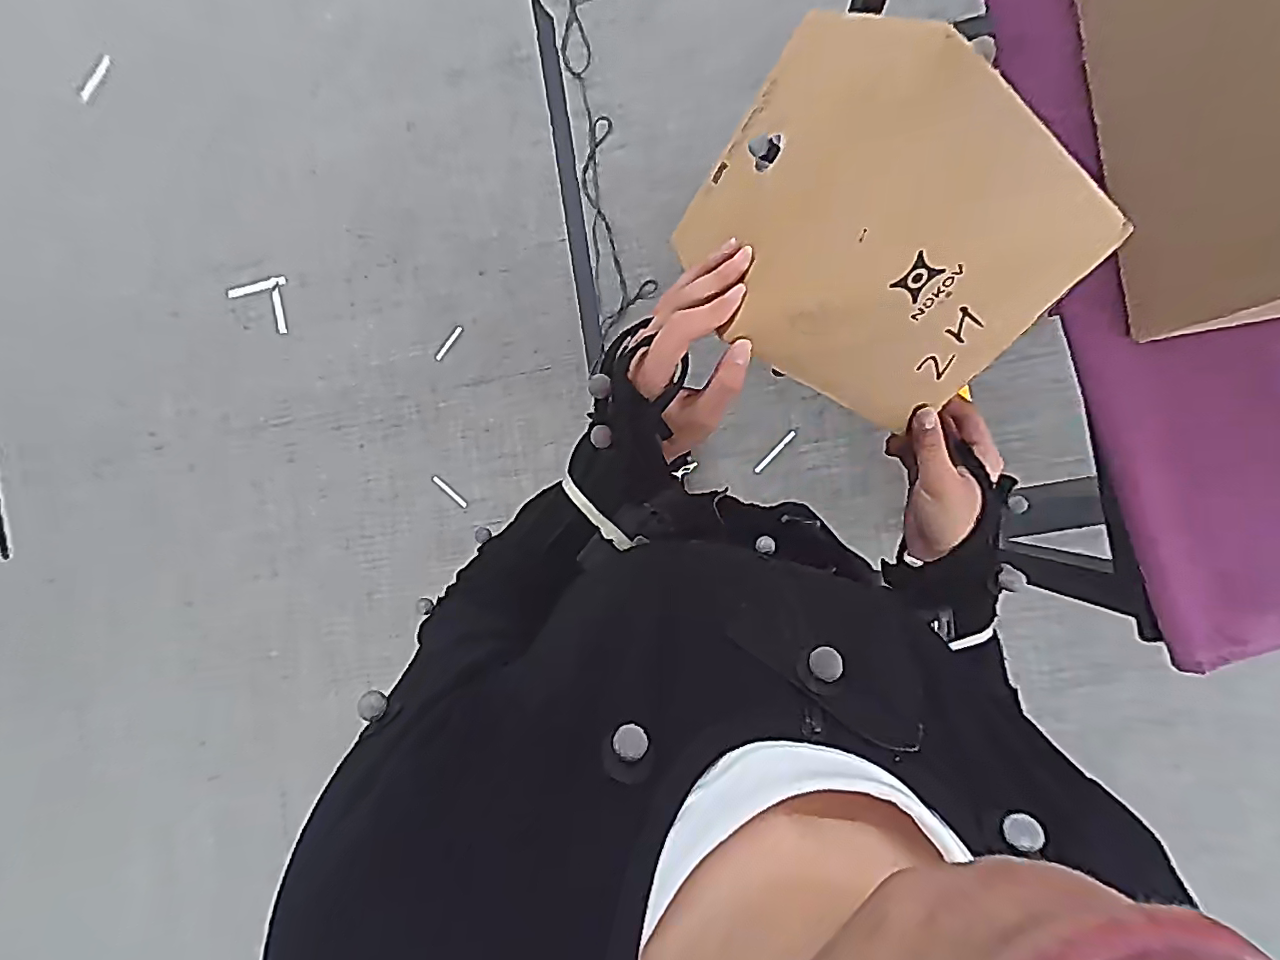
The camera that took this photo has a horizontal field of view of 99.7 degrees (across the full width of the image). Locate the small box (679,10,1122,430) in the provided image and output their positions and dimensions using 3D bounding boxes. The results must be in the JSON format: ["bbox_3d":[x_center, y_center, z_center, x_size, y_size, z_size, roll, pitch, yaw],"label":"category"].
[{"bbox_3d":[0.147,-0.169,0.365,0.179,0.176,0.168,20,127,-27],"label":"small box"}]
